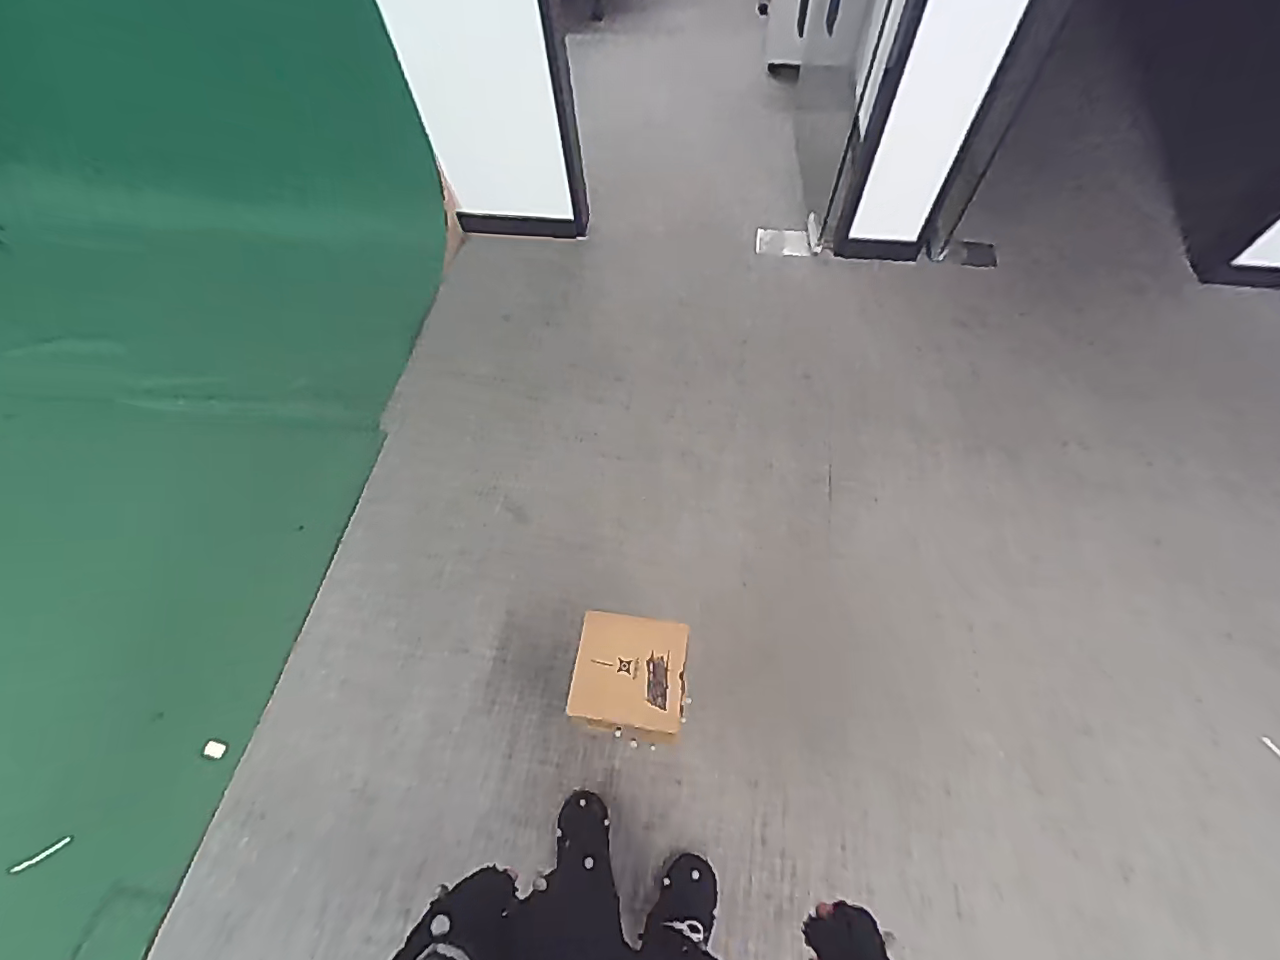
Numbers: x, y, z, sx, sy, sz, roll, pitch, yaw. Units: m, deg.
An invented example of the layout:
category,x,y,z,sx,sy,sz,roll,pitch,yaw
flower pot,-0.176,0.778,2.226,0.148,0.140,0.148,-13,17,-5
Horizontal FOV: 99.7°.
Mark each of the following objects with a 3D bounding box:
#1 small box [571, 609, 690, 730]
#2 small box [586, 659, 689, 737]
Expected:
category,x,y,z,sx,sy,sz,roll,pitch,yaw
small box,-0.011,0.330,0.929,0.179,0.176,0.168,5,63,4
small box,-0.001,0.409,1.073,0.179,0.176,0.168,7,63,6
